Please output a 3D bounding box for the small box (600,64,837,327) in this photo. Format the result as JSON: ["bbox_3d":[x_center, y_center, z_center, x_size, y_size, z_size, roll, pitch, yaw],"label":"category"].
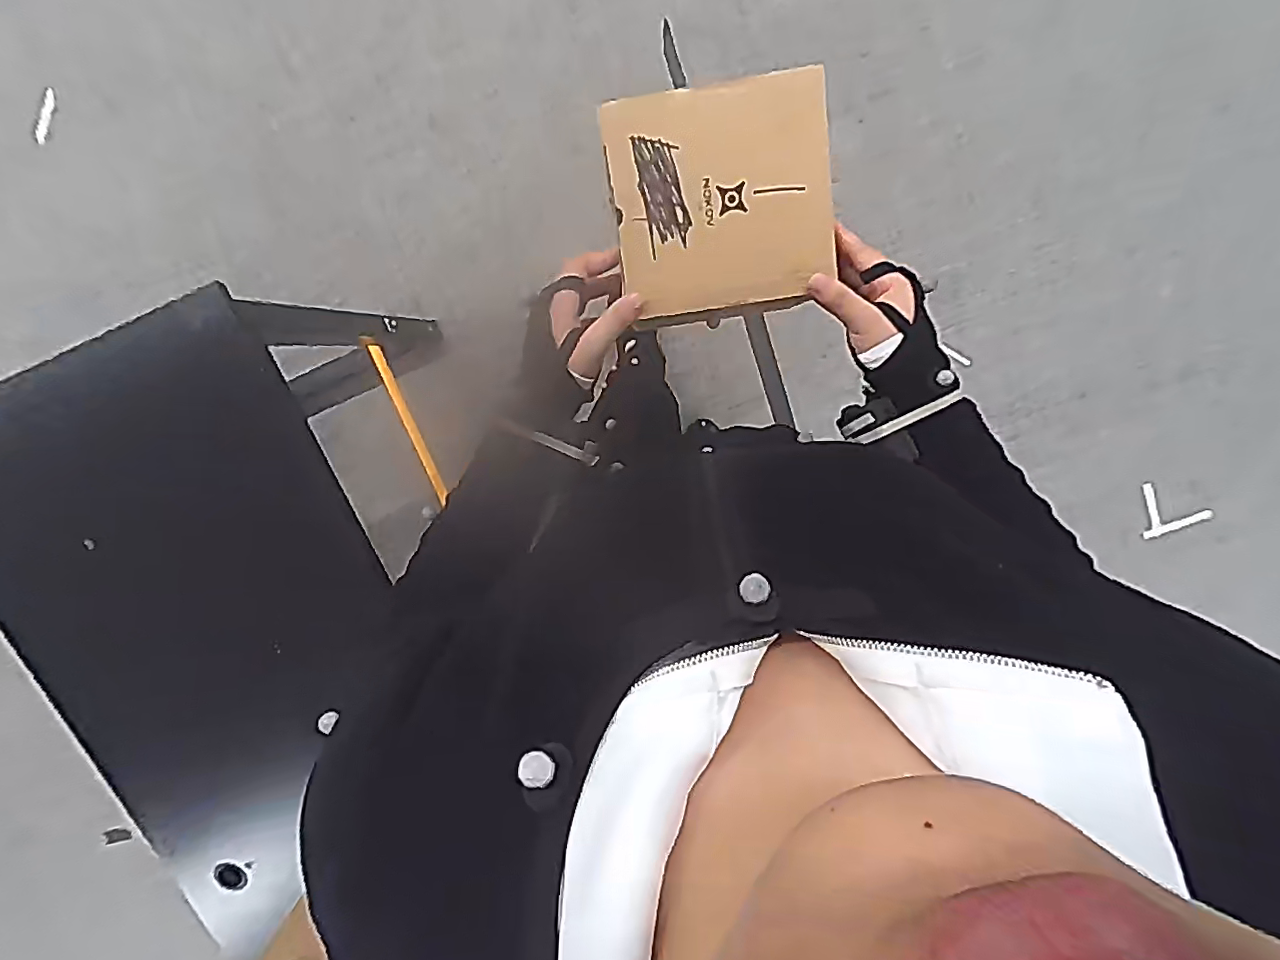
[{"bbox_3d":[0.069,-0.242,0.508,0.179,0.176,0.168,-8,103,4],"label":"small box"}]
